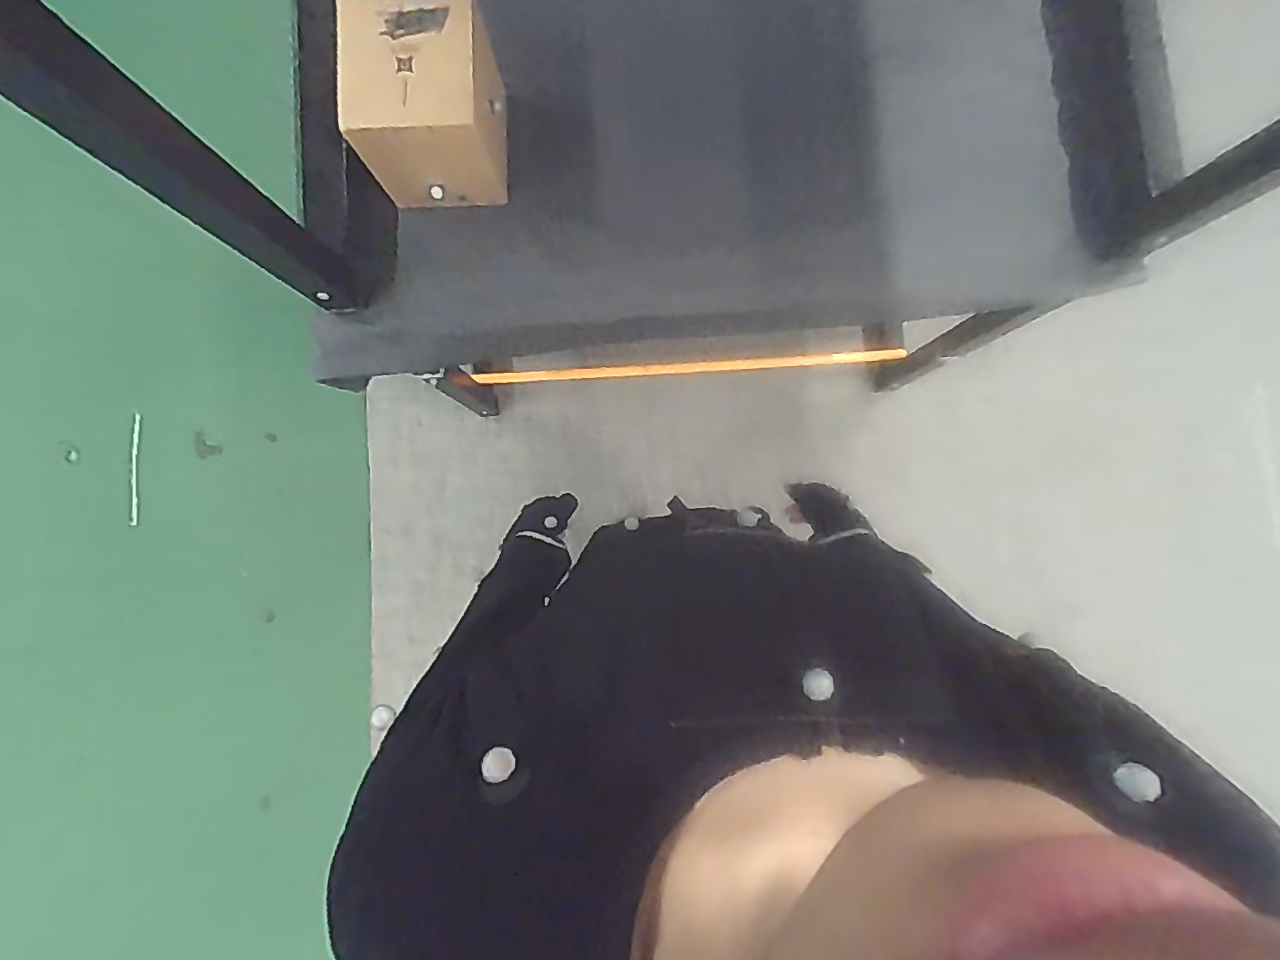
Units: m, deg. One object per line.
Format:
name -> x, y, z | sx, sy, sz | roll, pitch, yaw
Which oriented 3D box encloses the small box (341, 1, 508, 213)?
small box -> -0.281, -0.494, 0.736 | 0.168, 0.176, 0.179 | -2, 86, 0
